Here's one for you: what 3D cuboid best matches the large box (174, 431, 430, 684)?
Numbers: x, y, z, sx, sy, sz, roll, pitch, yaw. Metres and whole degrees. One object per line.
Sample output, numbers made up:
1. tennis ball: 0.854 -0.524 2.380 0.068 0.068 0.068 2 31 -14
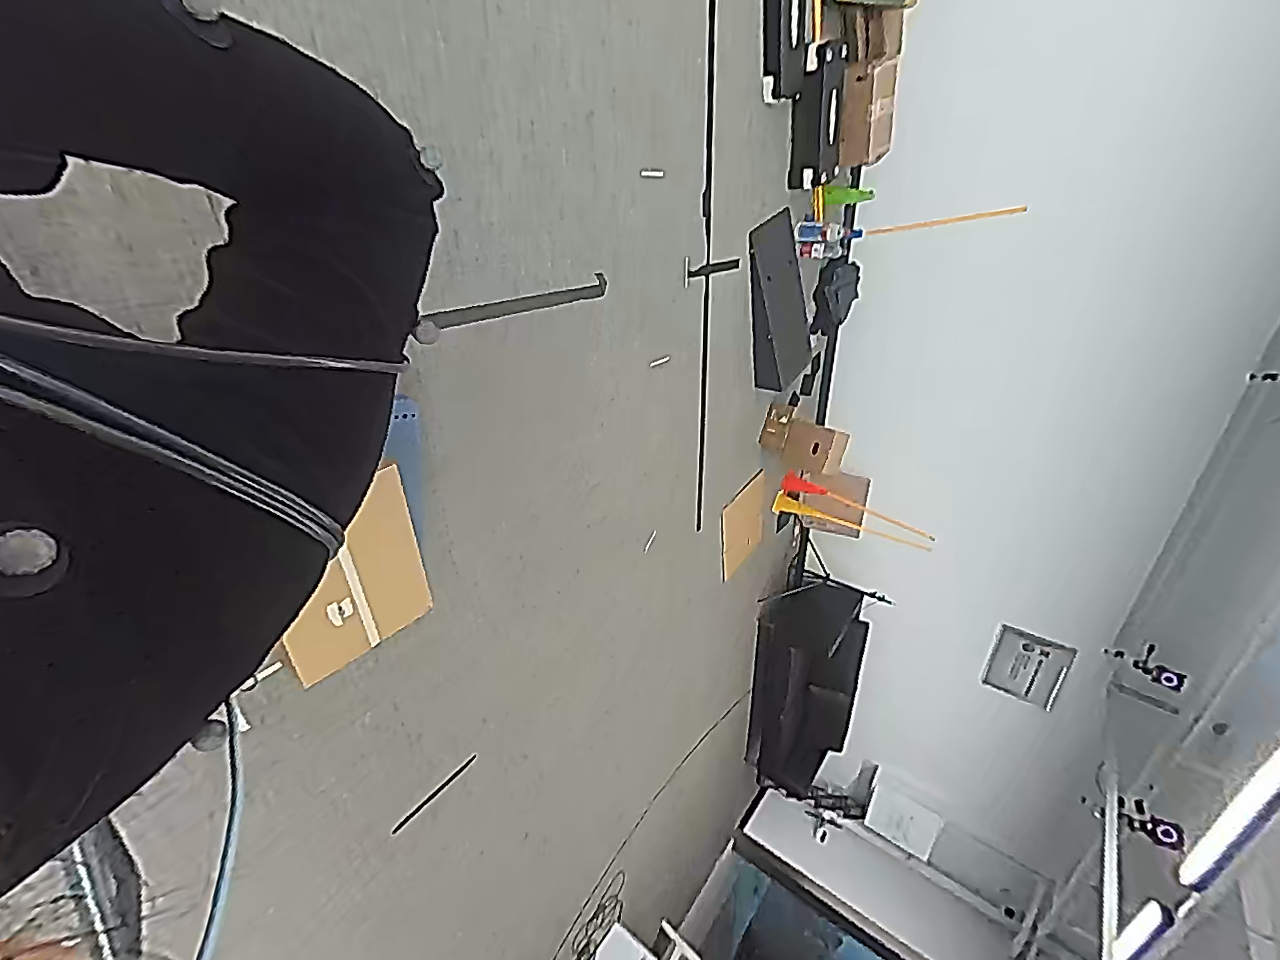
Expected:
1. large box: -0.730 0.152 1.207 0.320 0.320 0.408 -32 131 -44
